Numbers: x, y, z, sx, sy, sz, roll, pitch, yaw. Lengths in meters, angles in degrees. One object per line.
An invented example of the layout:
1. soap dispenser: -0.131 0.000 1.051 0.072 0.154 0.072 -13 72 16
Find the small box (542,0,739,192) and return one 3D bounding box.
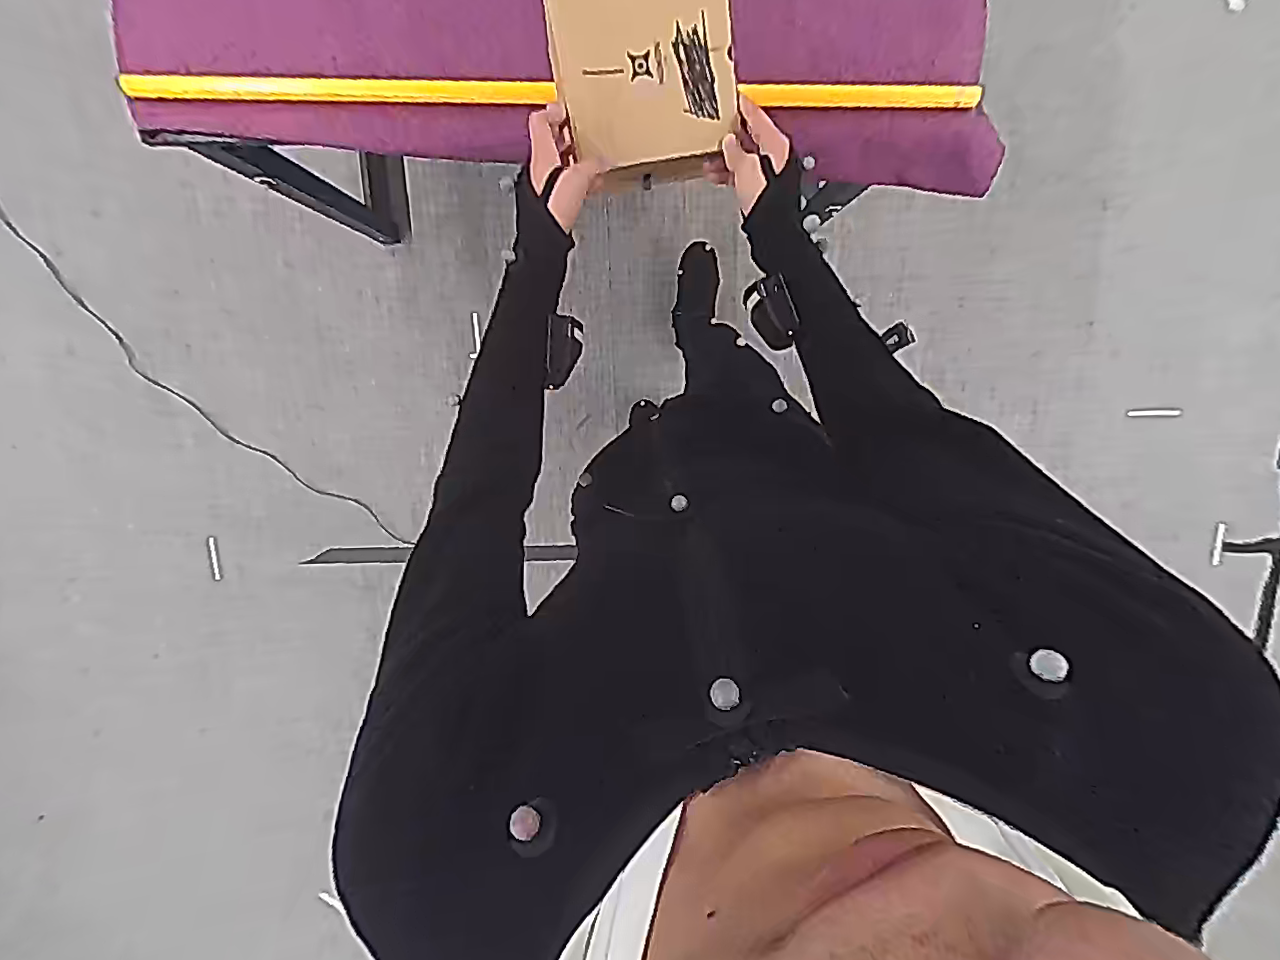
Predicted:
1. small box: -0.005 -0.428 0.590 0.179 0.176 0.168 -11 110 -3
